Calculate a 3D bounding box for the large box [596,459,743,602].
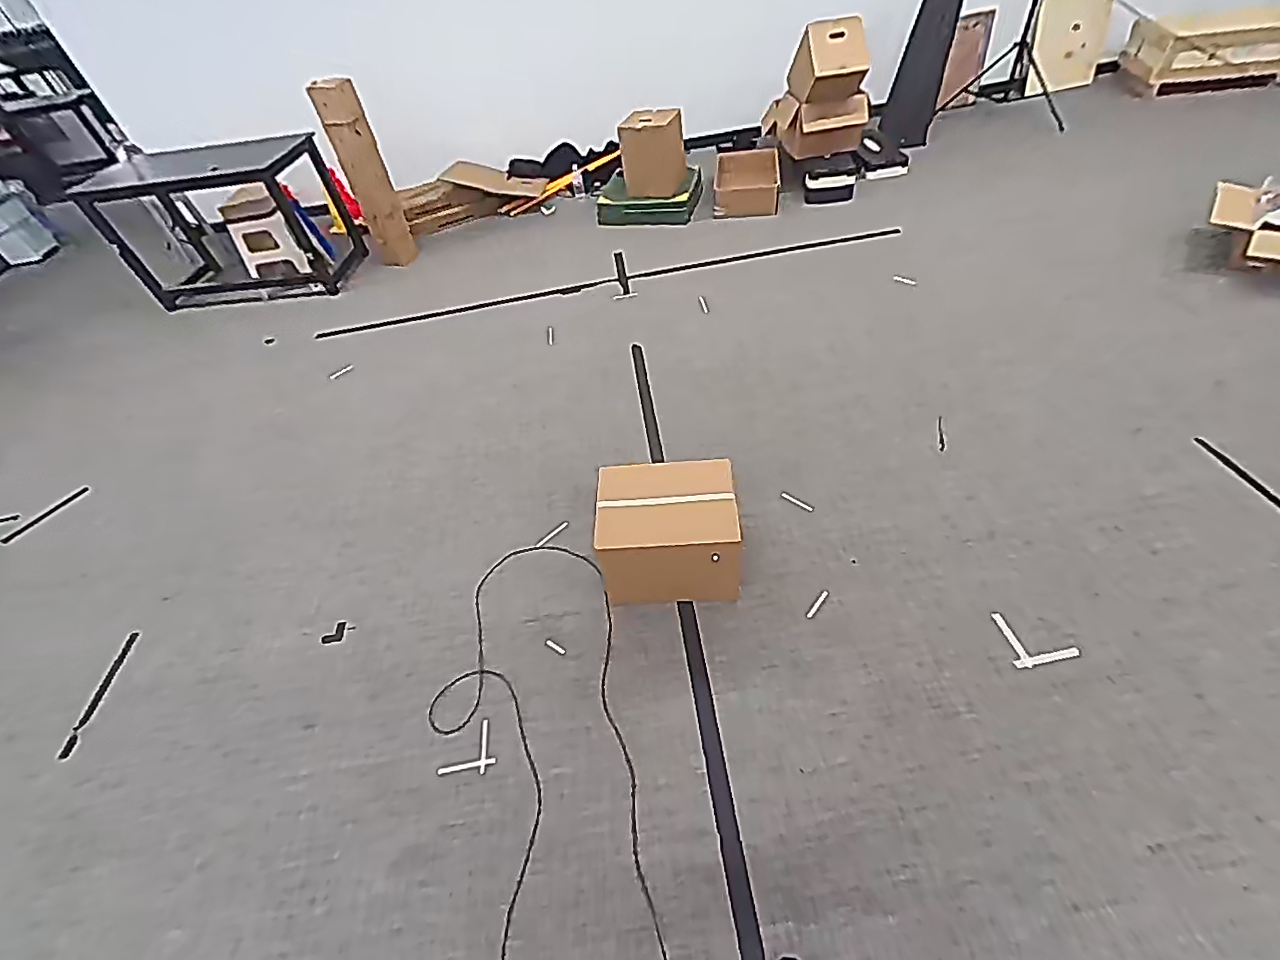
[{"bbox_3d":[0.093,0.161,1.670,0.408,0.320,0.320,-4,48,4],"label":"large box"}]
